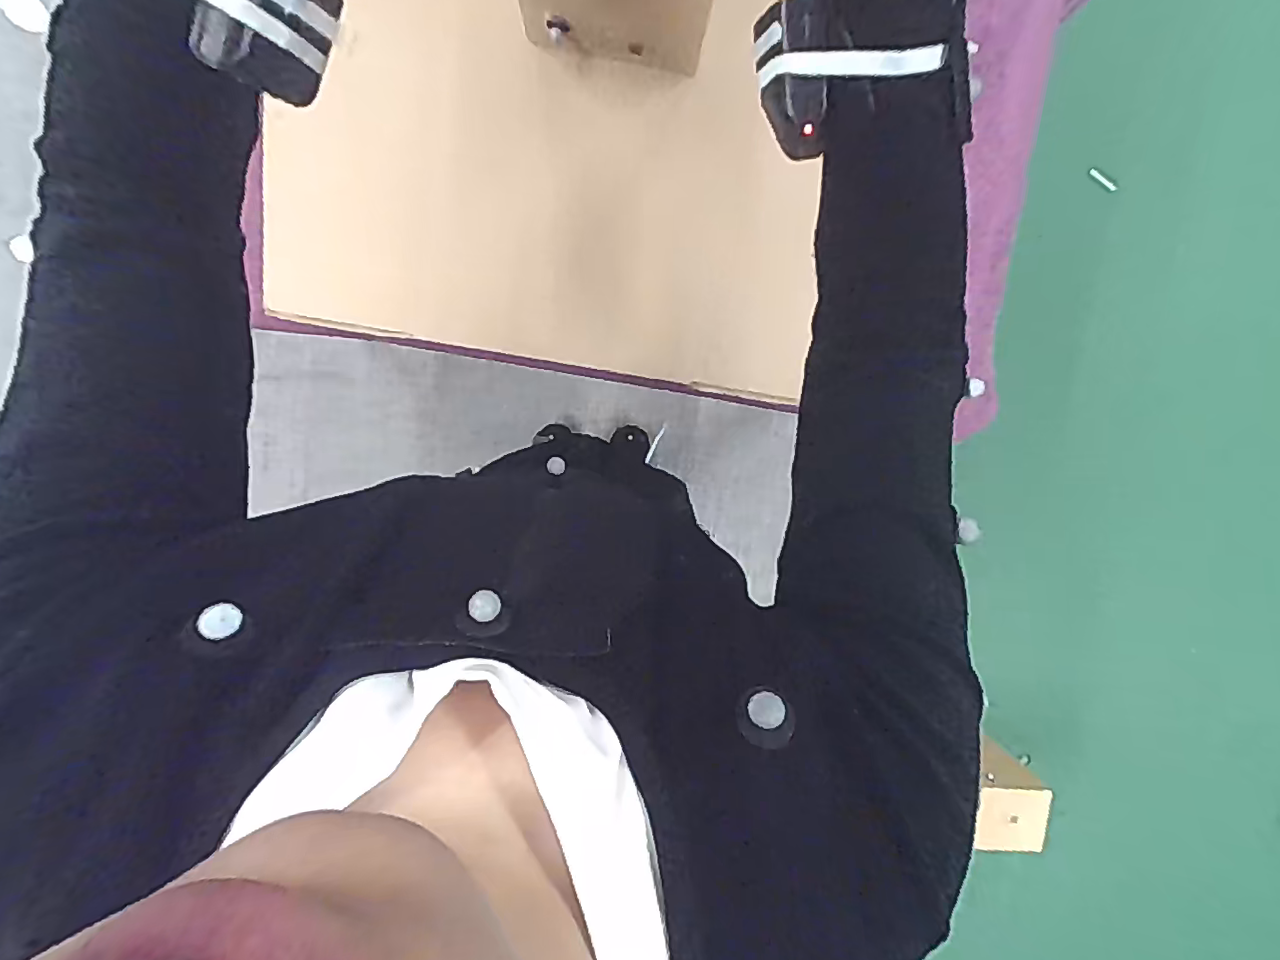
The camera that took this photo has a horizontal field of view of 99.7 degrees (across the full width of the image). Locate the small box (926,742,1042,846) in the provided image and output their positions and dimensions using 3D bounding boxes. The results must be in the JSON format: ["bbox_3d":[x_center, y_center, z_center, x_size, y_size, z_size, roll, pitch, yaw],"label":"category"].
[{"bbox_3d":[0.875,0.799,1.390,0.179,0.176,0.168,4,98,-2],"label":"small box"}]

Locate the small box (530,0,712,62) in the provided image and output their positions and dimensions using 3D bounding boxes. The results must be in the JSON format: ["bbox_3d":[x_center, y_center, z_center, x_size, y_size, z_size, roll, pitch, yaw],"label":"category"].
[{"bbox_3d":[-0.007,-0.485,0.429,0.168,0.176,0.179,9,94,-4],"label":"small box"}]
